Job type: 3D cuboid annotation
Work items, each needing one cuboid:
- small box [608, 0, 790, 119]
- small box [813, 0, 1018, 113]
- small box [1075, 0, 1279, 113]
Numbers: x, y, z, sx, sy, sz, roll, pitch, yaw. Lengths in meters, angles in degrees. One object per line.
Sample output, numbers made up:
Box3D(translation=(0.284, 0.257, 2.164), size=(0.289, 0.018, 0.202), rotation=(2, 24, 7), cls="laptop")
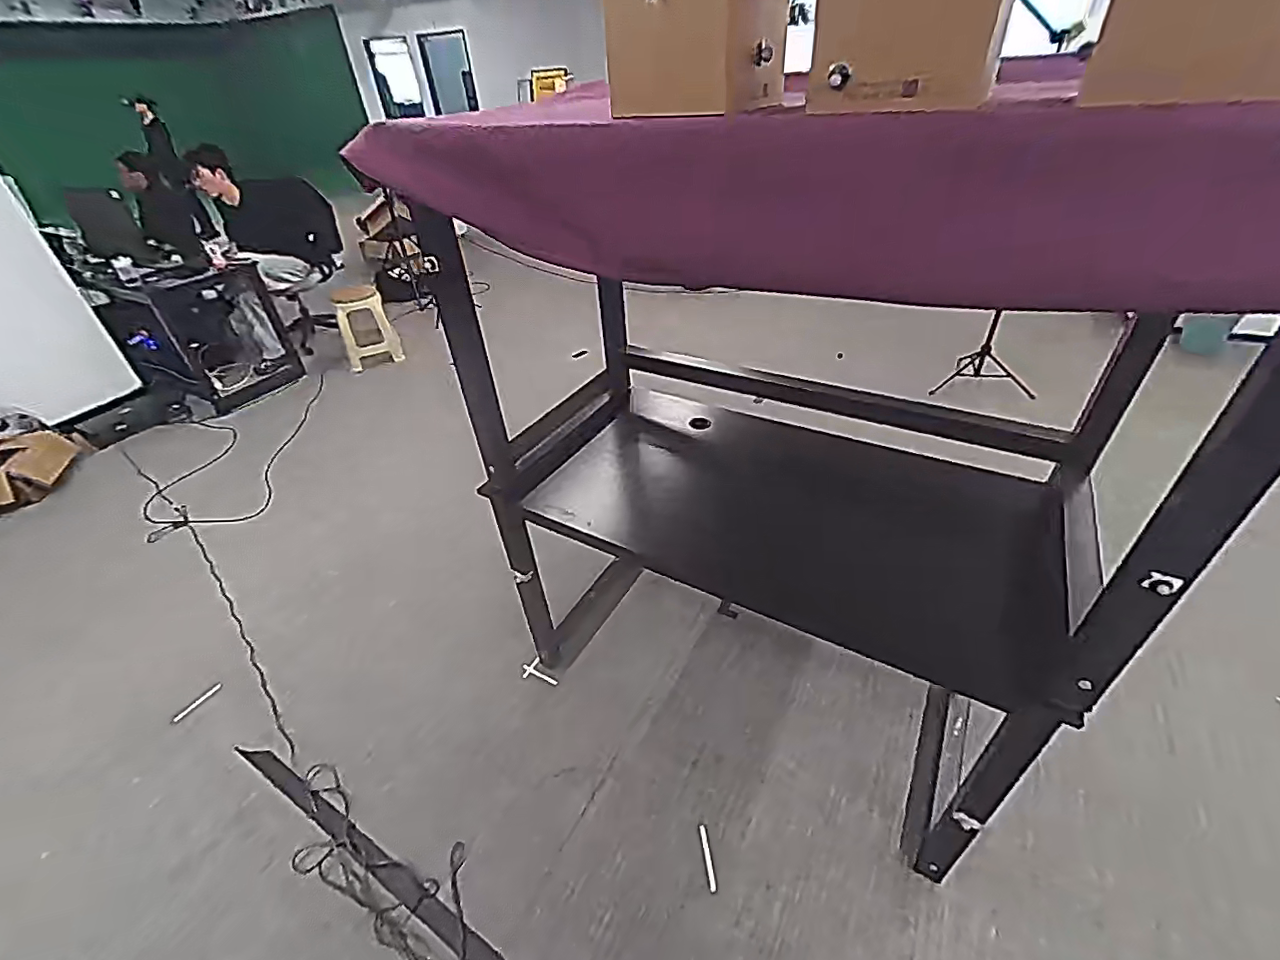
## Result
Box3D(translation=(0.071, -0.556, 0.672), size=(0.179, 0.176, 0.168), rotation=(20, 44, 29), cls="small box")
Box3D(translation=(0.285, -0.479, 0.550), size=(0.168, 0.176, 0.179), rotation=(18, 42, 26), cls="small box")
Box3D(translation=(0.488, -0.400, 0.425), size=(0.179, 0.176, 0.168), rotation=(21, 43, 30), cls="small box")
